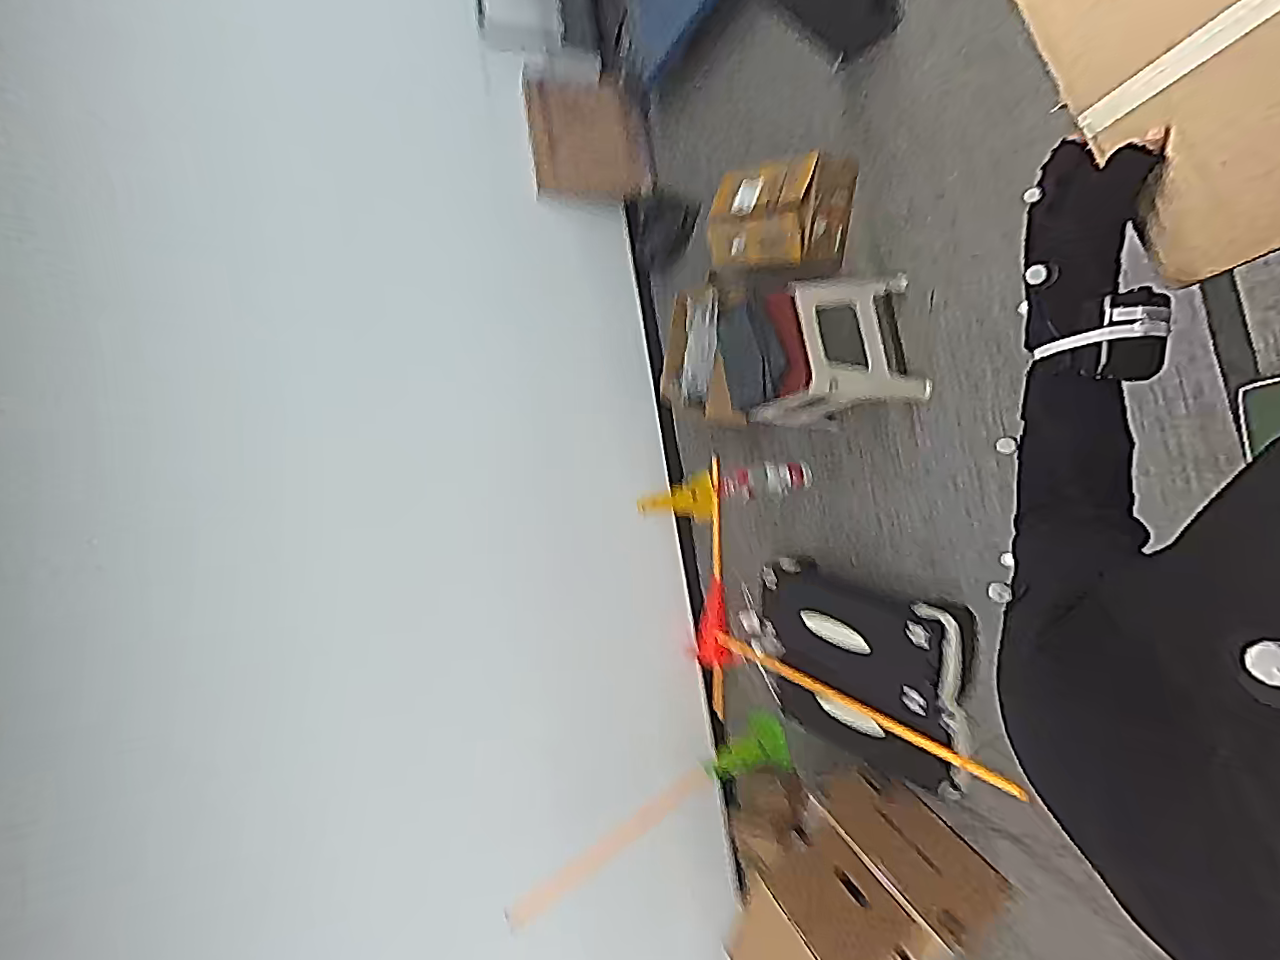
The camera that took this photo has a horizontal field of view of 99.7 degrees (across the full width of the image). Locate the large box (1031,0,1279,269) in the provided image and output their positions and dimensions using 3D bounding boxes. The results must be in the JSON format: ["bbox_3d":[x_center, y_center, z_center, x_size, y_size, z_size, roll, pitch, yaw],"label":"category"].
[{"bbox_3d":[0.588,-0.406,0.370,0.408,0.320,0.320,-28,86,57],"label":"large box"}]
